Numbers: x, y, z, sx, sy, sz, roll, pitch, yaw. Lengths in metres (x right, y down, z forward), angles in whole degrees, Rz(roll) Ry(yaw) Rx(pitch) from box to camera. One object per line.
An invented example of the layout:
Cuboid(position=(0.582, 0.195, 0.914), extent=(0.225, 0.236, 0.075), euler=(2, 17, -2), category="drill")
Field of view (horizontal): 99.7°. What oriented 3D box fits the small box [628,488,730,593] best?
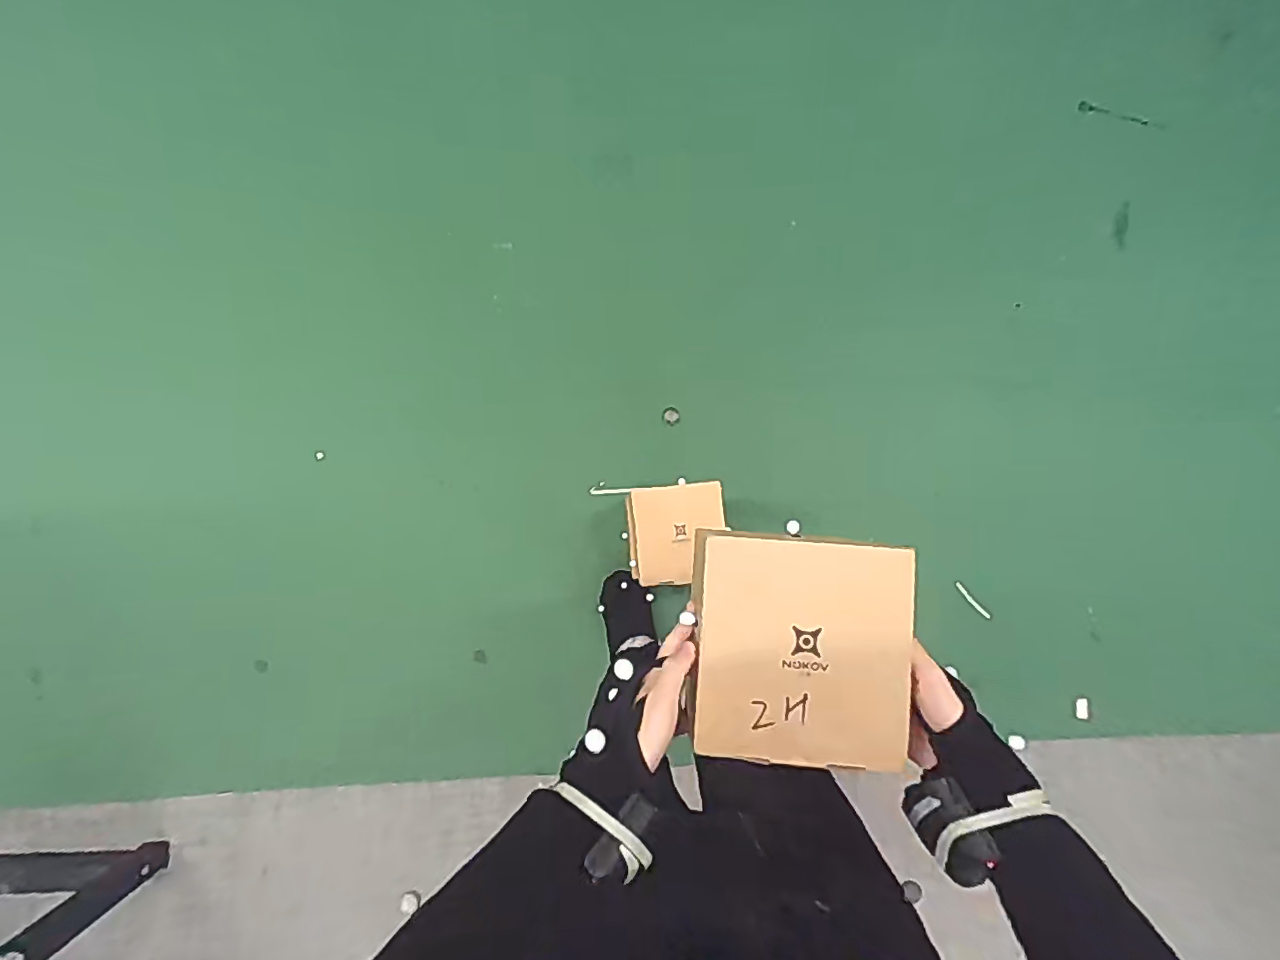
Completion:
Cuboid(position=(0.068, 0.113, 1.047), extent=(0.168, 0.176, 0.179), euler=(-6, 87, -3), category="small box")
